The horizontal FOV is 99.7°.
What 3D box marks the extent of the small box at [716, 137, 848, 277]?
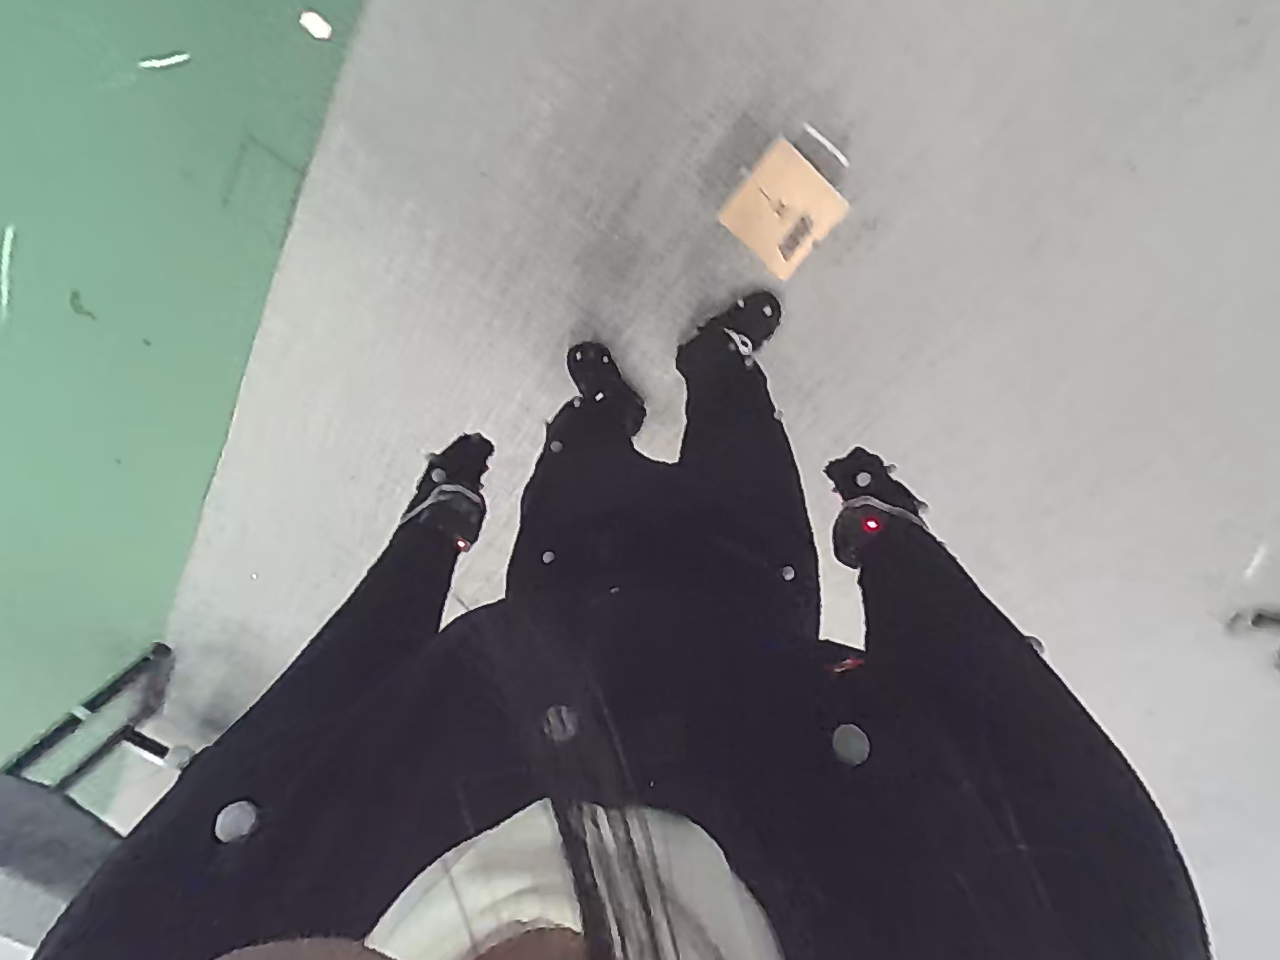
[{"bbox_3d":[0.266,-0.526,1.042,0.179,0.176,0.168,36,119,-11],"label":"small box"}]
